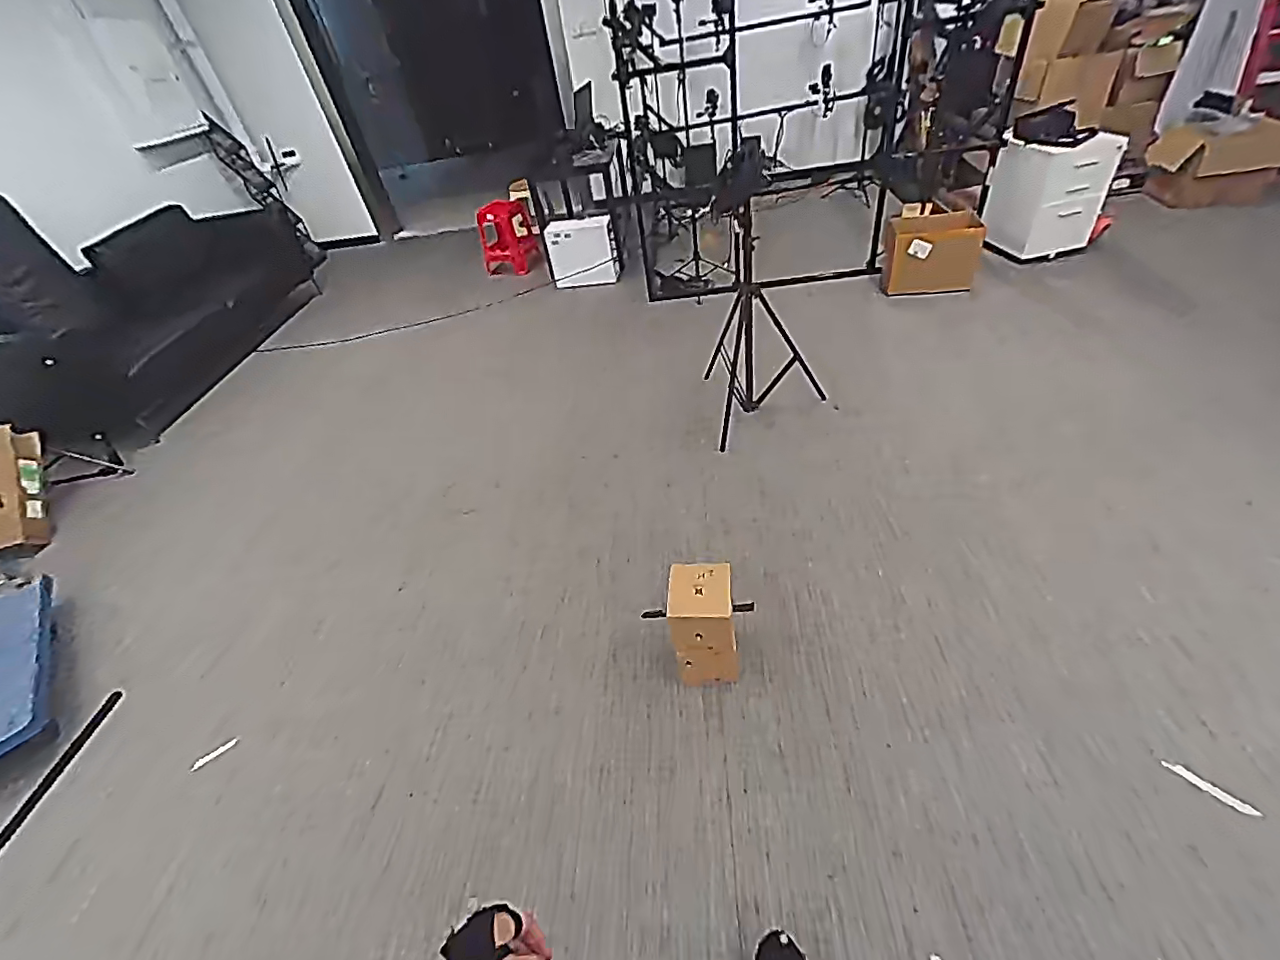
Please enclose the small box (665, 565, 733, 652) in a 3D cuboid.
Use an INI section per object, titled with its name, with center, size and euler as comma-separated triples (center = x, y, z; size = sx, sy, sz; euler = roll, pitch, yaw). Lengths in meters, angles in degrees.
[small box]
center = 0.166, 0.352, 1.474
size = 0.168, 0.176, 0.179
euler = -2, 41, 10
